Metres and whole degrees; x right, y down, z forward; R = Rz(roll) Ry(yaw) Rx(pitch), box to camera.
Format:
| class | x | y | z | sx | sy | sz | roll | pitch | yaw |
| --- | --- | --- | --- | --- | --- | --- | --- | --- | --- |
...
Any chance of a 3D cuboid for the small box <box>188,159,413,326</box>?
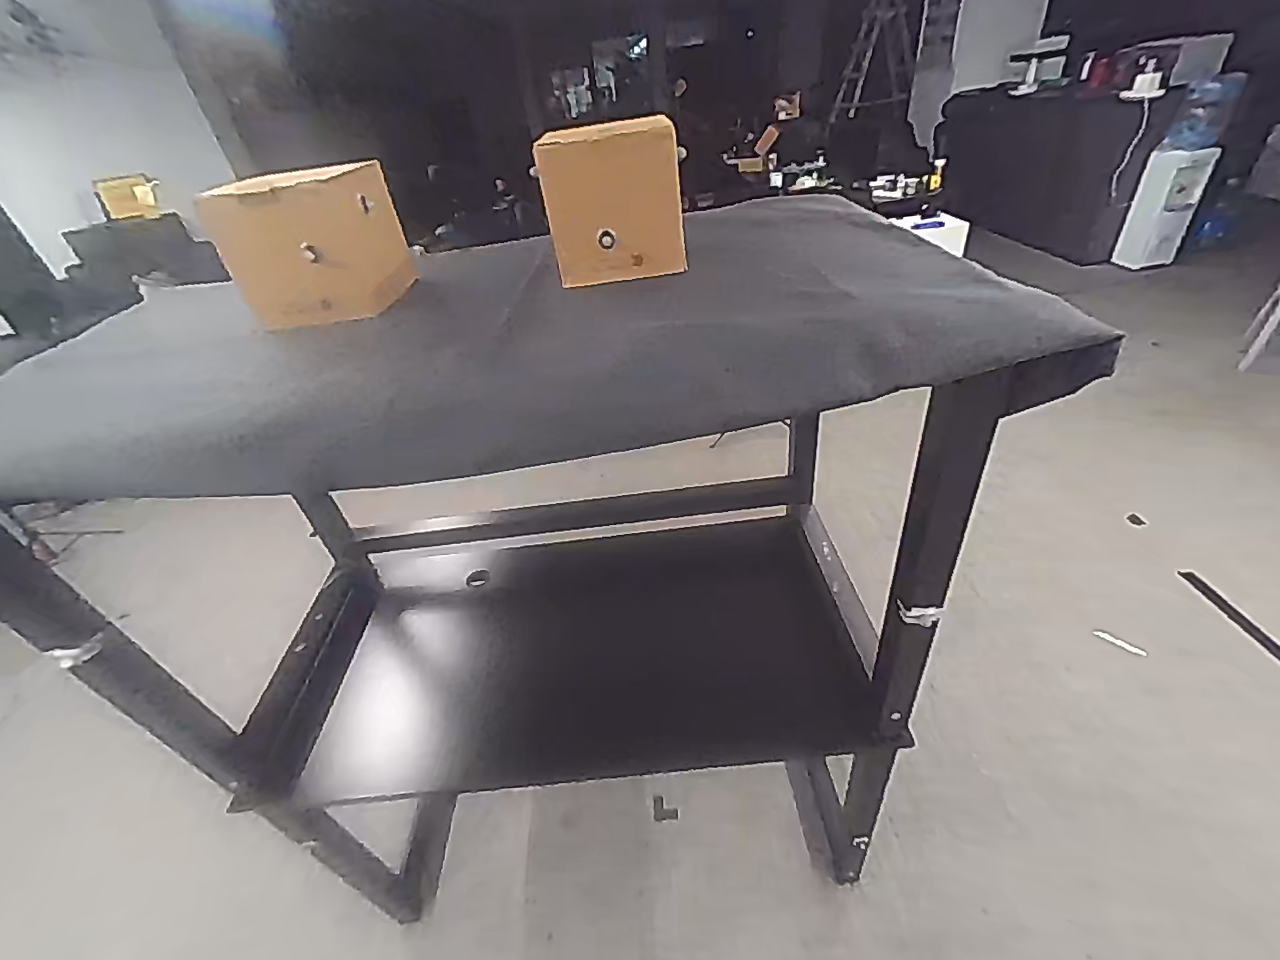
| class | x | y | z | sx | sy | sz | roll | pitch | yaw |
| --- | --- | --- | --- | --- | --- | --- | --- | --- | --- |
| small box | -0.435 | -0.317 | 0.734 | 0.168 | 0.176 | 0.179 | -5 | 38 | 4 |

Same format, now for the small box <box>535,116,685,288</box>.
| class | x | y | z | sx | sy | sz | roll | pitch | yaw |
| --- | --- | --- | --- | --- | --- | --- | --- | --- | --- |
| small box | -0.032 | -0.372 | 0.723 | 0.168 | 0.176 | 0.179 | -7 | 38 | 3 |
